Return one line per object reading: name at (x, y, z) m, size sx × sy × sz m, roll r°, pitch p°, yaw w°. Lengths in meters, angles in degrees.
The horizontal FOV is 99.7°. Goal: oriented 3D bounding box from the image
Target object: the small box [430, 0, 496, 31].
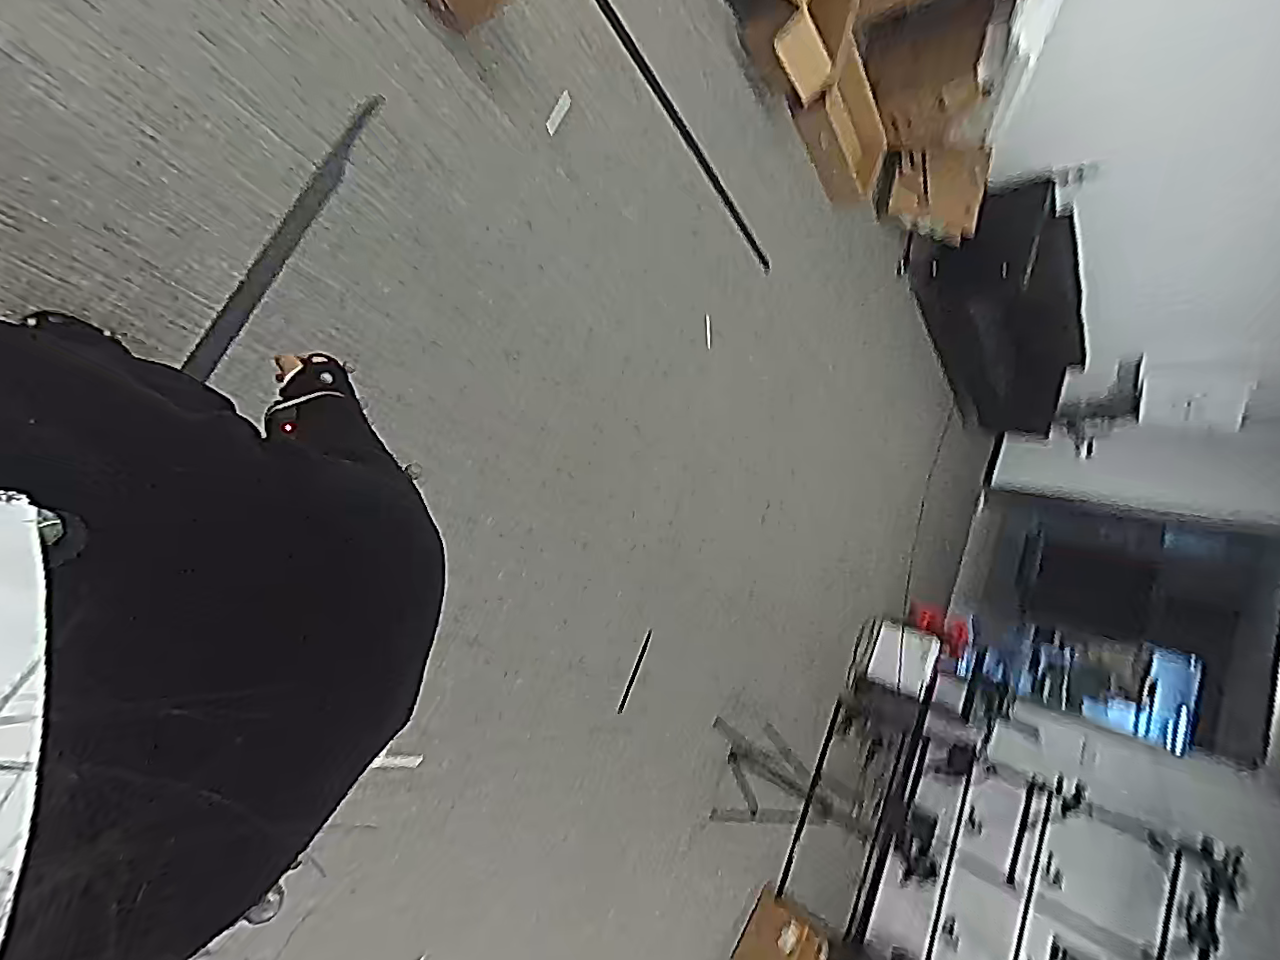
small box at (-0.446, -1.297, 1.356) m, size 0.168 × 0.176 × 0.179 m, roll 27°, pitch 80°, yaw -45°
